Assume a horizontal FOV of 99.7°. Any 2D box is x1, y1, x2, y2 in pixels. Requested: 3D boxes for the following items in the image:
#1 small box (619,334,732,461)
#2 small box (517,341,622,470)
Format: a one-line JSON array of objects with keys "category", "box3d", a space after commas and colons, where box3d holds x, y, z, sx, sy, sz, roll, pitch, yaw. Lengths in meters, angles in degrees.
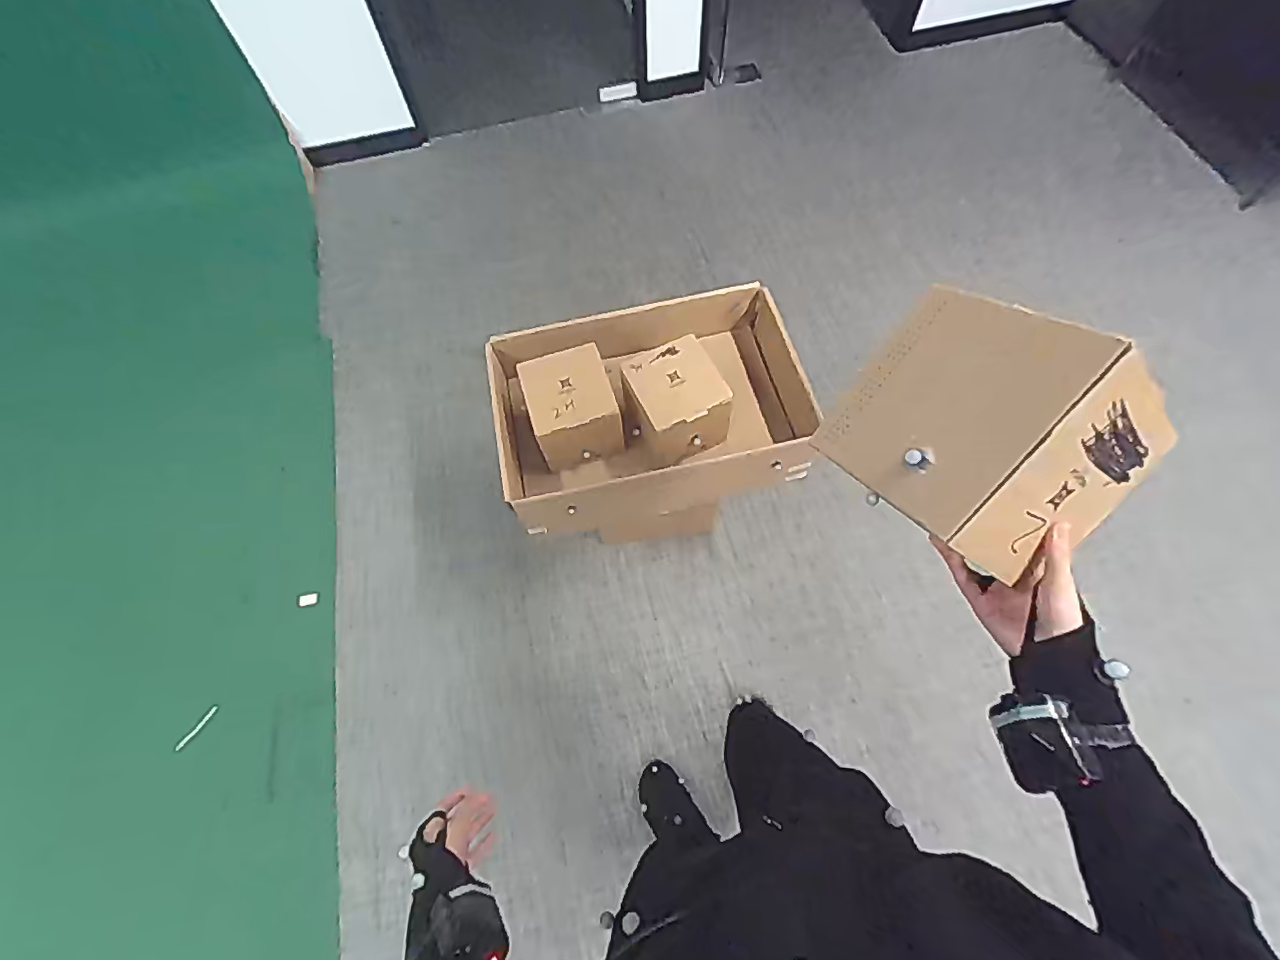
[{"category": "small box", "box3d": [0.070, -0.157, 1.104, 0.168, 0.176, 0.179, -23, 67, -8]}, {"category": "small box", "box3d": [-0.140, -0.147, 1.106, 0.168, 0.176, 0.179, -17, 65, -5]}]
